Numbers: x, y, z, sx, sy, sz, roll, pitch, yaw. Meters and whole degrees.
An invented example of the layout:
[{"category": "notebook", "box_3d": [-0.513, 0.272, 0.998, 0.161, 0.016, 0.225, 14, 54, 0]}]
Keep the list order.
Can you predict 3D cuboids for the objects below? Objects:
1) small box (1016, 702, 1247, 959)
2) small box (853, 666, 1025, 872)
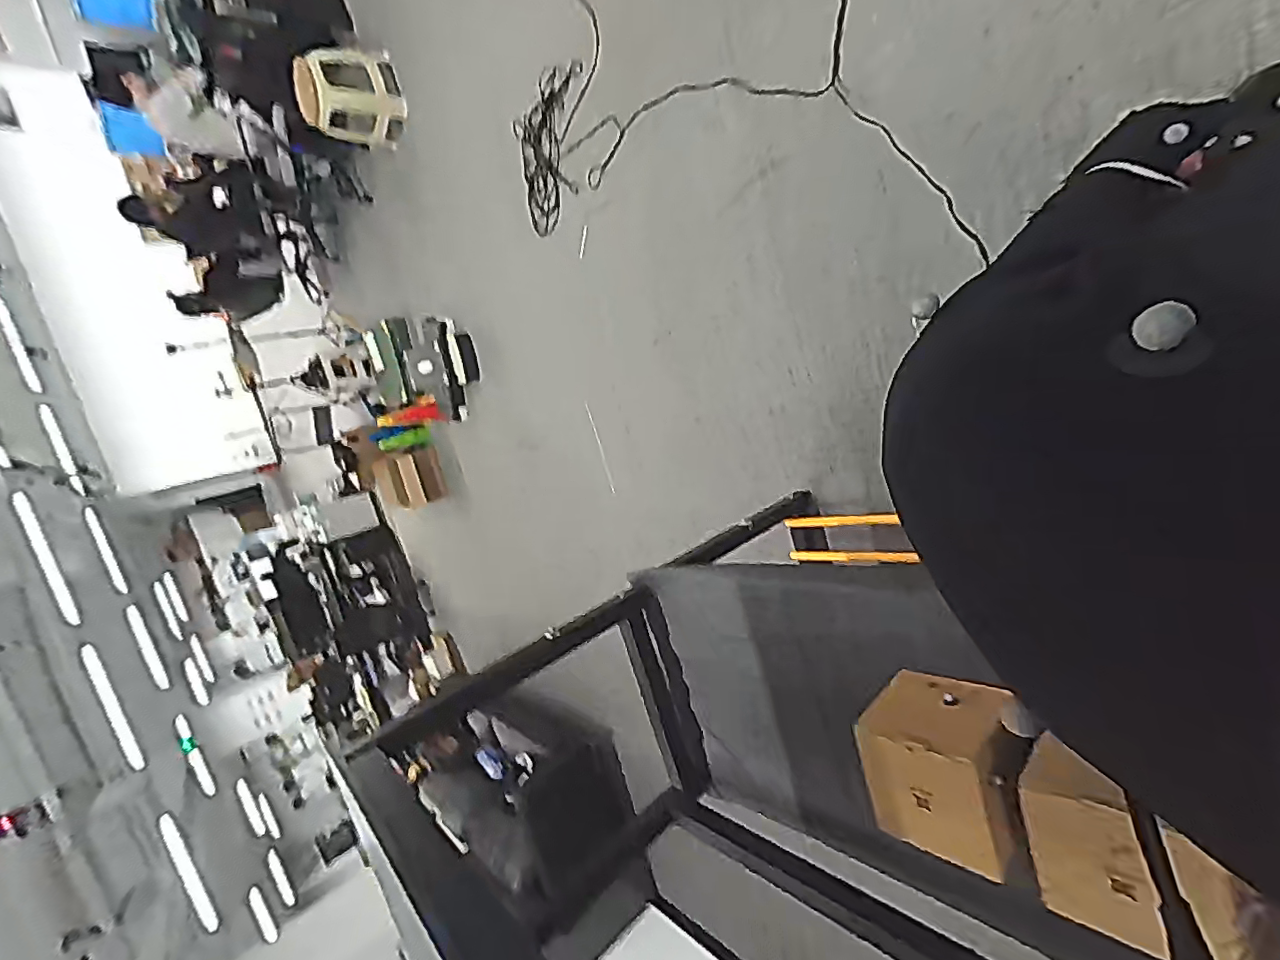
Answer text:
[{"category": "small box", "box_3d": [0.576, 0.398, 0.633, 0.168, 0.176, 0.179, -8, 101, 51]}, {"category": "small box", "box_3d": [0.448, 0.407, 0.796, 0.168, 0.176, 0.179, -8, 102, 51]}]
